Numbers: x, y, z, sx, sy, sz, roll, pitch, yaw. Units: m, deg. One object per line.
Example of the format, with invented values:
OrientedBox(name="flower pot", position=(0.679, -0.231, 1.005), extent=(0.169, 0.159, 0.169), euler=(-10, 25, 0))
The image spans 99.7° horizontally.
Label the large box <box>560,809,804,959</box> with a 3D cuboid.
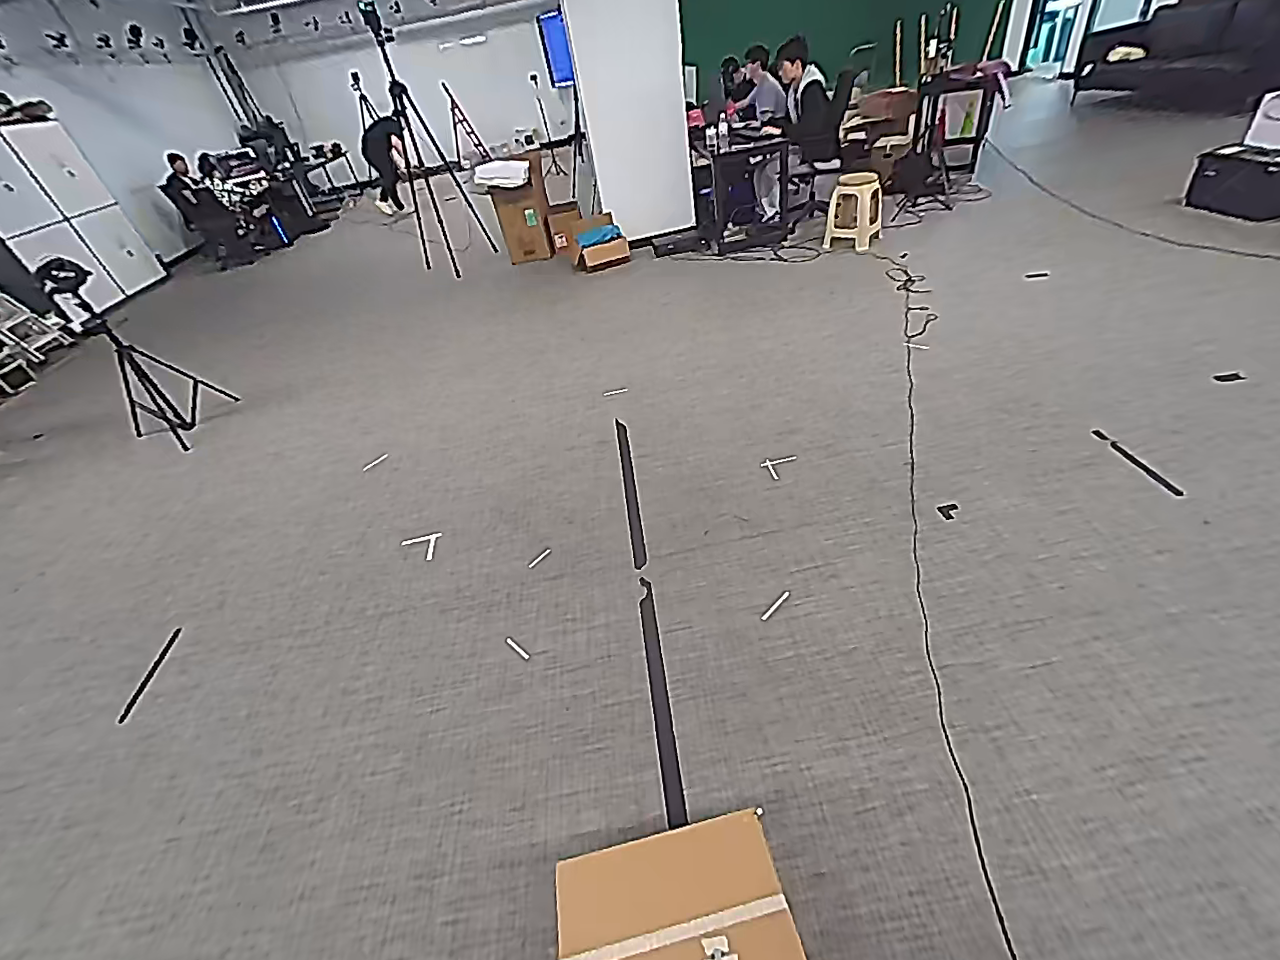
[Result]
OrientedBox(name="large box", position=(0.086, 0.907, 1.033), extent=(0.408, 0.320, 0.320), euler=(-14, 38, -2))
